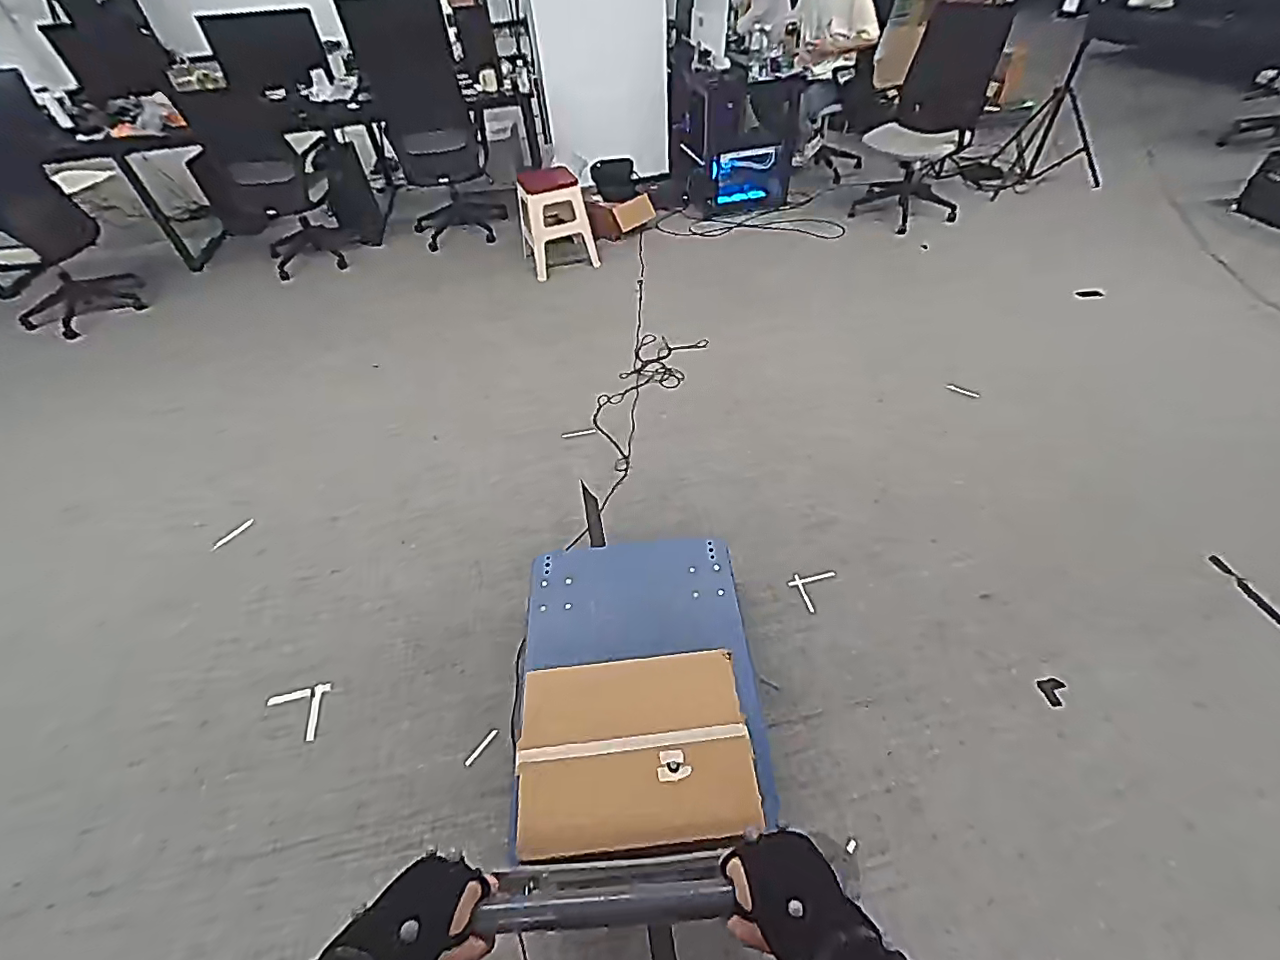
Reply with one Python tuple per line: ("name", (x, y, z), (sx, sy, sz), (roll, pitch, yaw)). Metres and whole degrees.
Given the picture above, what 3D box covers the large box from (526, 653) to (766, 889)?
("large box", (0.001, 0.584, 1.081), (0.408, 0.320, 0.320), (-7, 48, -2))
